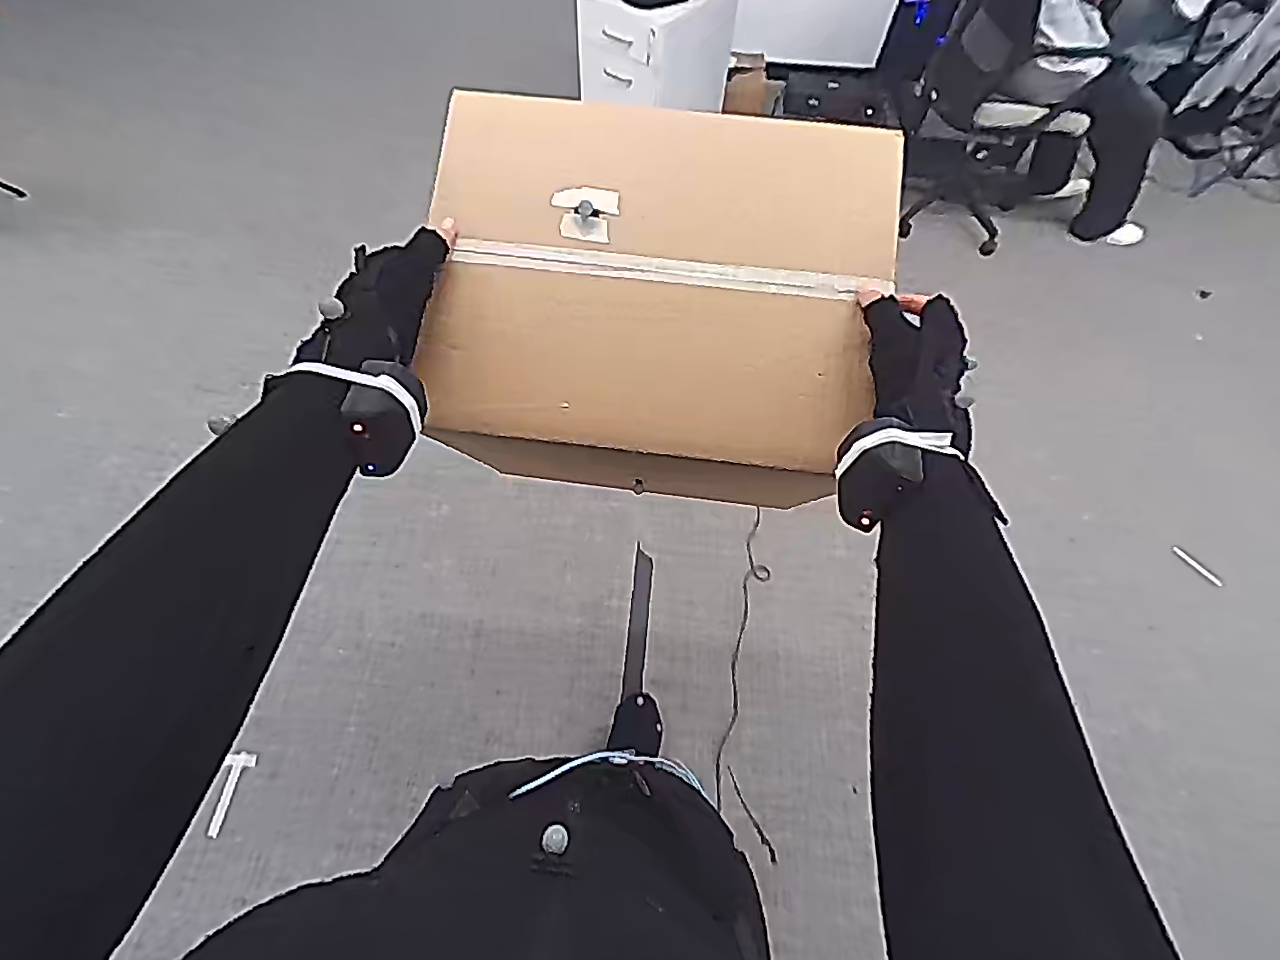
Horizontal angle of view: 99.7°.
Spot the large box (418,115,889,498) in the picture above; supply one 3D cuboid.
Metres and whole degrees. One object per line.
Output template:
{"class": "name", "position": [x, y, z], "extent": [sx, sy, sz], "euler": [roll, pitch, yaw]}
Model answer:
{"class": "large box", "position": [0.022, -0.158, 0.632], "extent": [0.408, 0.320, 0.320], "euler": [7, 82, 3]}
